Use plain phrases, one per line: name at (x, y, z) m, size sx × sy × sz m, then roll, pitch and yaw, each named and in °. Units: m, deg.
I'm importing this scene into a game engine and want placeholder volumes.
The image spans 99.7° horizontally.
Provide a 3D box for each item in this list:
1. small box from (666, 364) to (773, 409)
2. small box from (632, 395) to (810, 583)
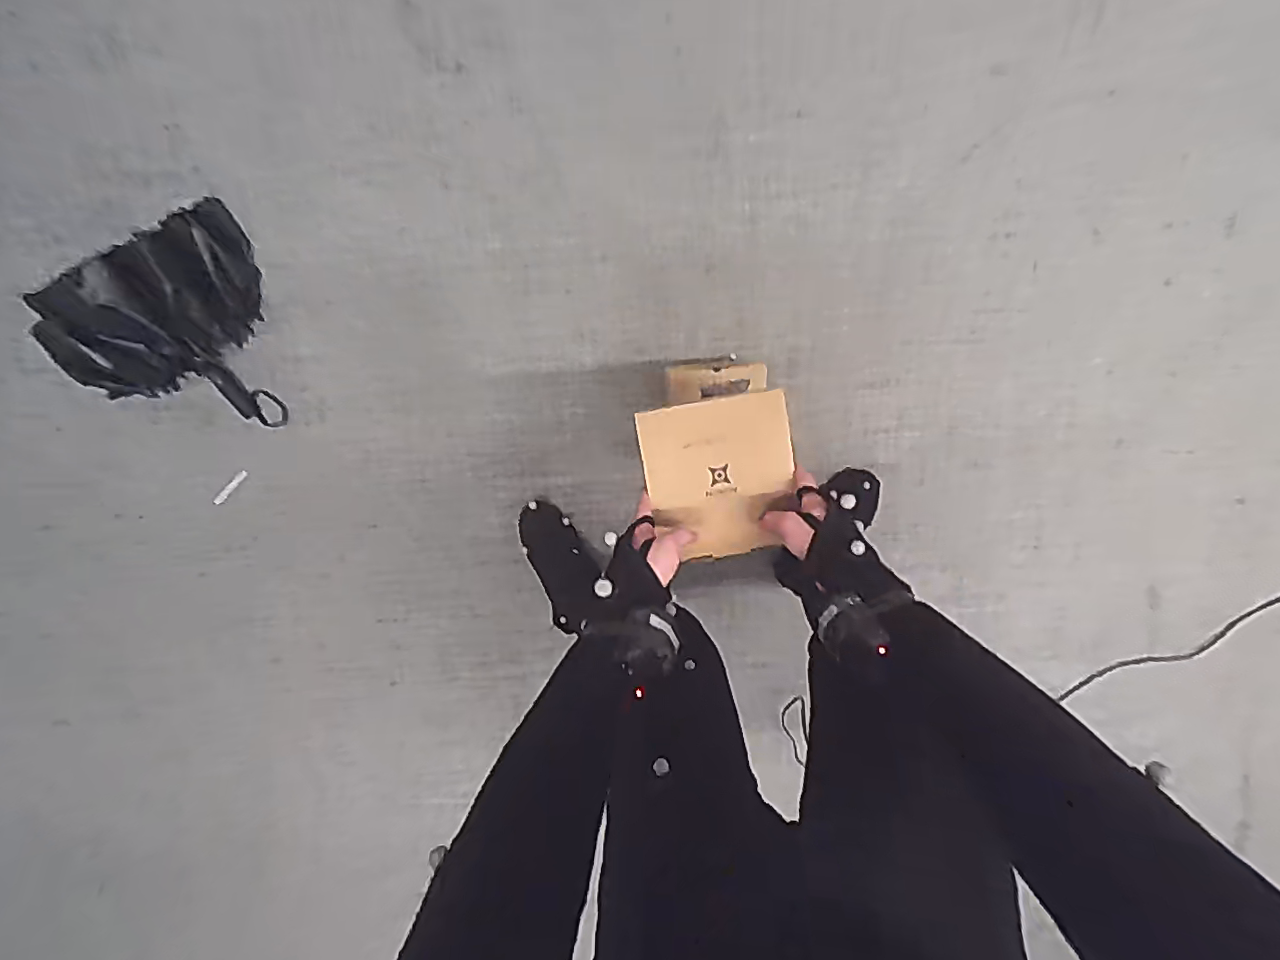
small box at (0.136, -0.114, 0.963) m, size 0.168 × 0.176 × 0.179 m, roll -4°, pitch 105°, yaw 1°
small box at (0.088, 0.000, 0.638) m, size 0.168 × 0.176 × 0.179 m, roll -11°, pitch 99°, yaw 3°
